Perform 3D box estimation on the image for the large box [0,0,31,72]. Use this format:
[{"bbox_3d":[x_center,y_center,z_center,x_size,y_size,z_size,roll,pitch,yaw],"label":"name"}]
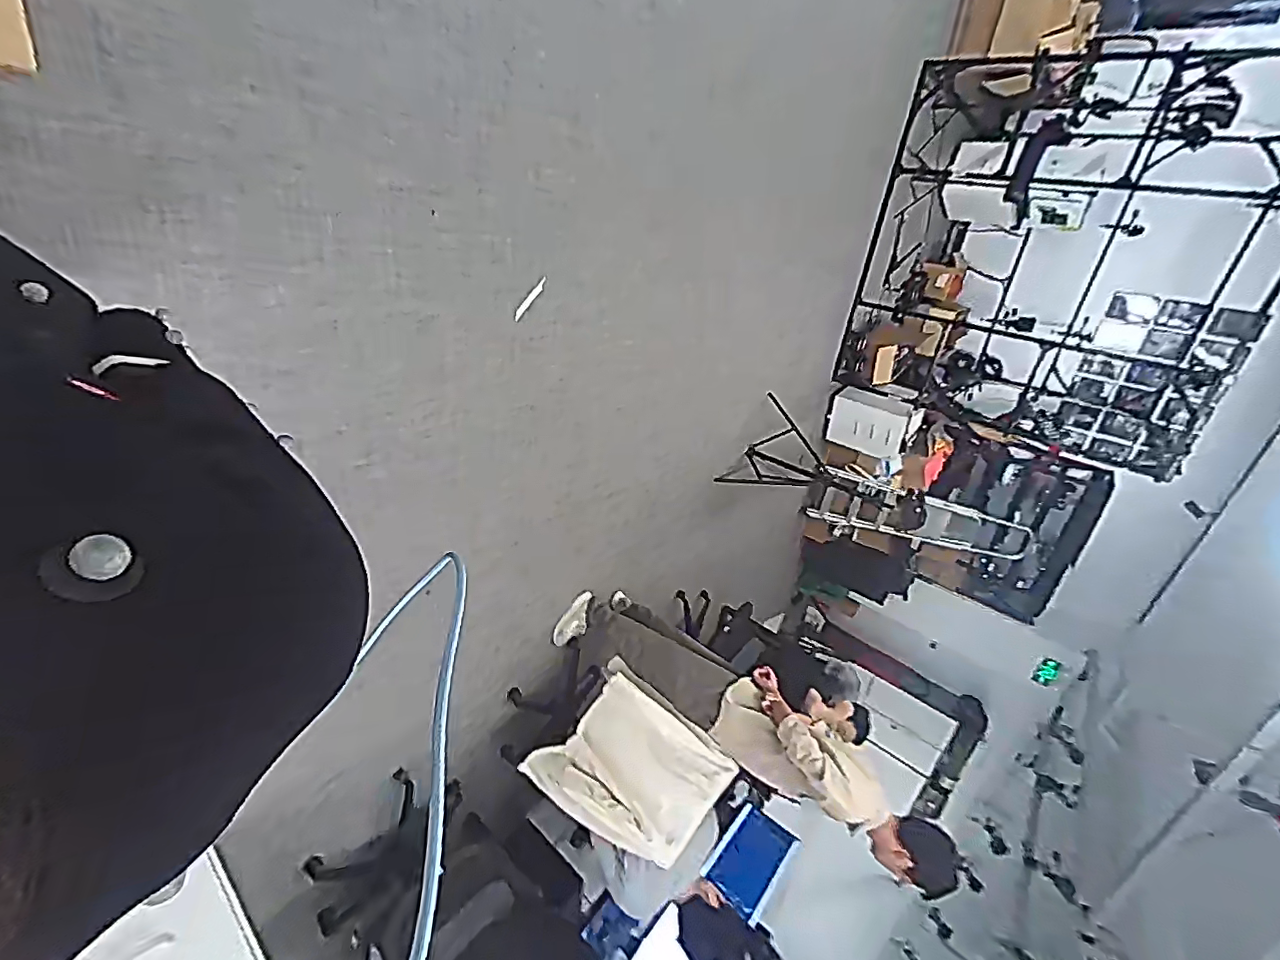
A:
[{"bbox_3d":[-0.951,-0.647,0.526,0.408,0.320,0.320,-19,127,-49],"label":"large box"}]
